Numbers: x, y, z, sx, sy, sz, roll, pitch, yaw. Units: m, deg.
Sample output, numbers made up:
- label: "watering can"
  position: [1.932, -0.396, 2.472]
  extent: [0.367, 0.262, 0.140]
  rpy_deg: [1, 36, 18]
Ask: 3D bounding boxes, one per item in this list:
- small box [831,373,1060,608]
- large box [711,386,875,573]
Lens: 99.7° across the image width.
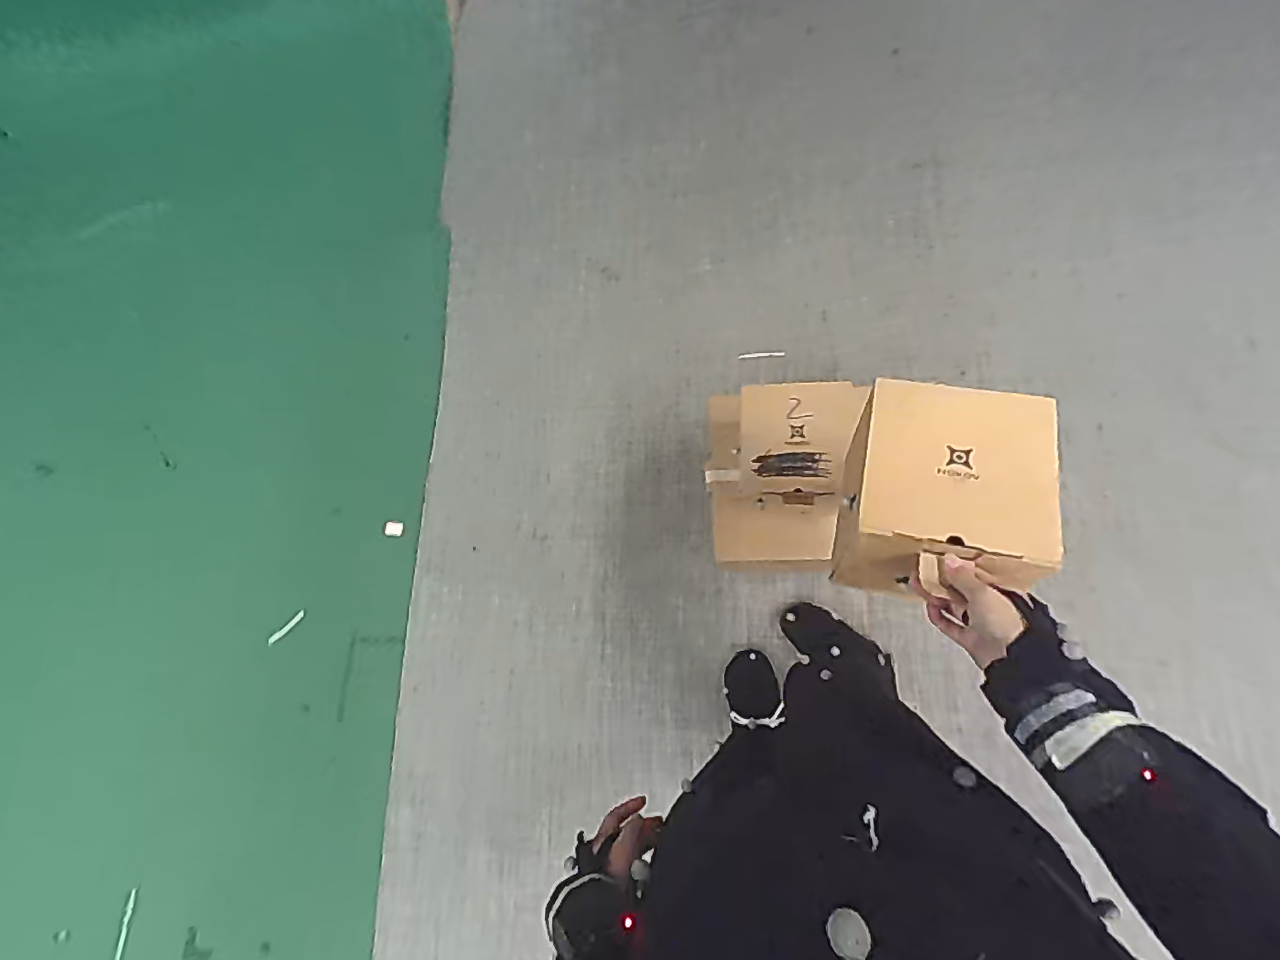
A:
- label: "small box"
  position: [0.308, 0.016, 0.575]
  extent: [0.168, 0.176, 0.179]
  rpy_deg: [11, 65, 15]
- label: "large box"
  position: [0.354, 0.019, 1.093]
  extent: [0.408, 0.320, 0.320]
  rpy_deg: [-2, 77, 9]
